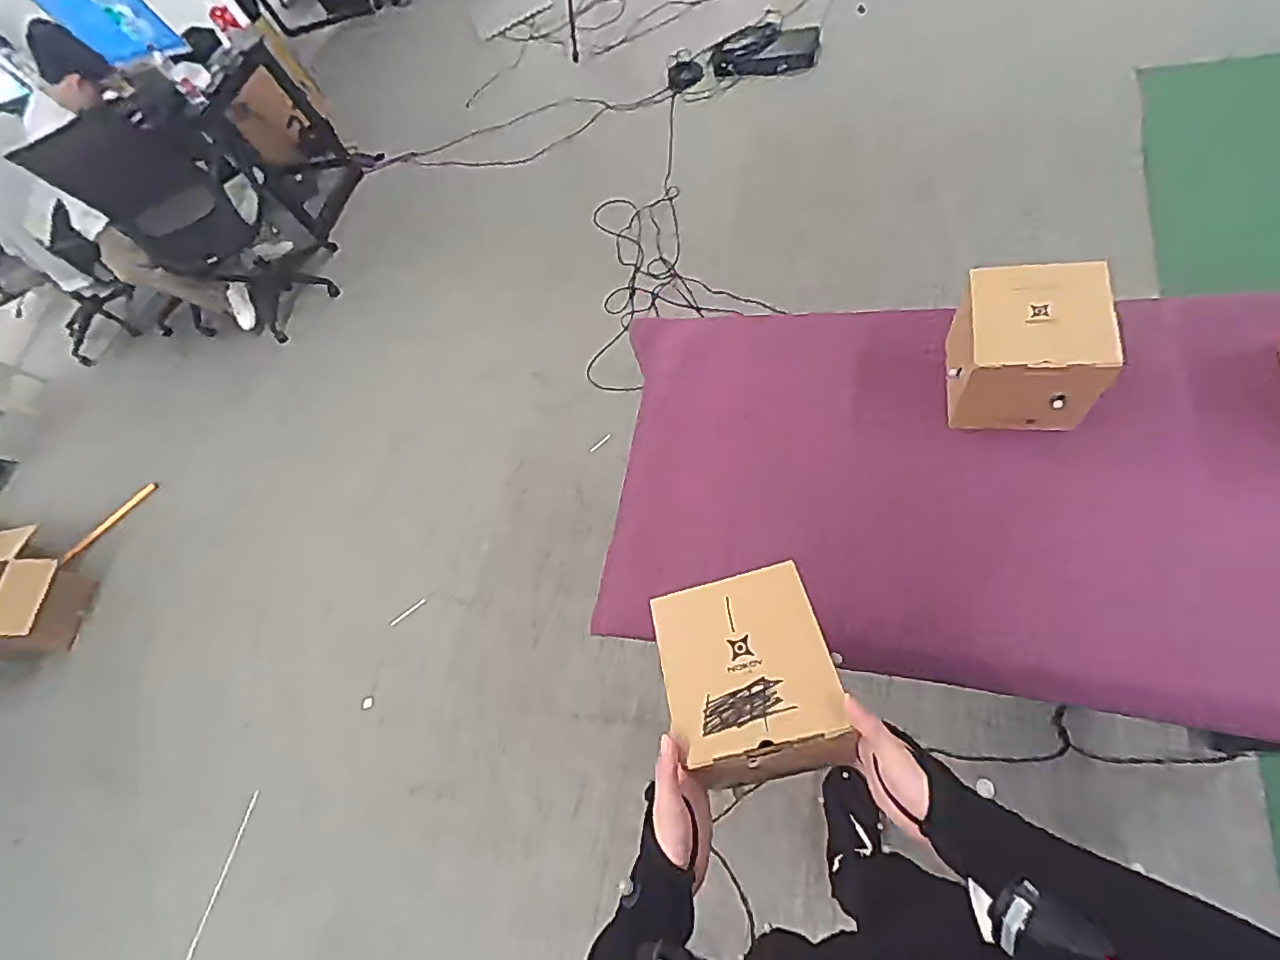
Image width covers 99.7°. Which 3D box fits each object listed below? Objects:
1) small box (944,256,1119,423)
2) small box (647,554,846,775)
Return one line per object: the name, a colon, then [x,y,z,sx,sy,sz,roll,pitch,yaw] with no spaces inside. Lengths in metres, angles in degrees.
small box: [0.557,-0.196,0.795,0.168,0.176,0.179,4,66,20]
small box: [0.120,0.214,0.603,0.168,0.176,0.179,-17,50,7]
